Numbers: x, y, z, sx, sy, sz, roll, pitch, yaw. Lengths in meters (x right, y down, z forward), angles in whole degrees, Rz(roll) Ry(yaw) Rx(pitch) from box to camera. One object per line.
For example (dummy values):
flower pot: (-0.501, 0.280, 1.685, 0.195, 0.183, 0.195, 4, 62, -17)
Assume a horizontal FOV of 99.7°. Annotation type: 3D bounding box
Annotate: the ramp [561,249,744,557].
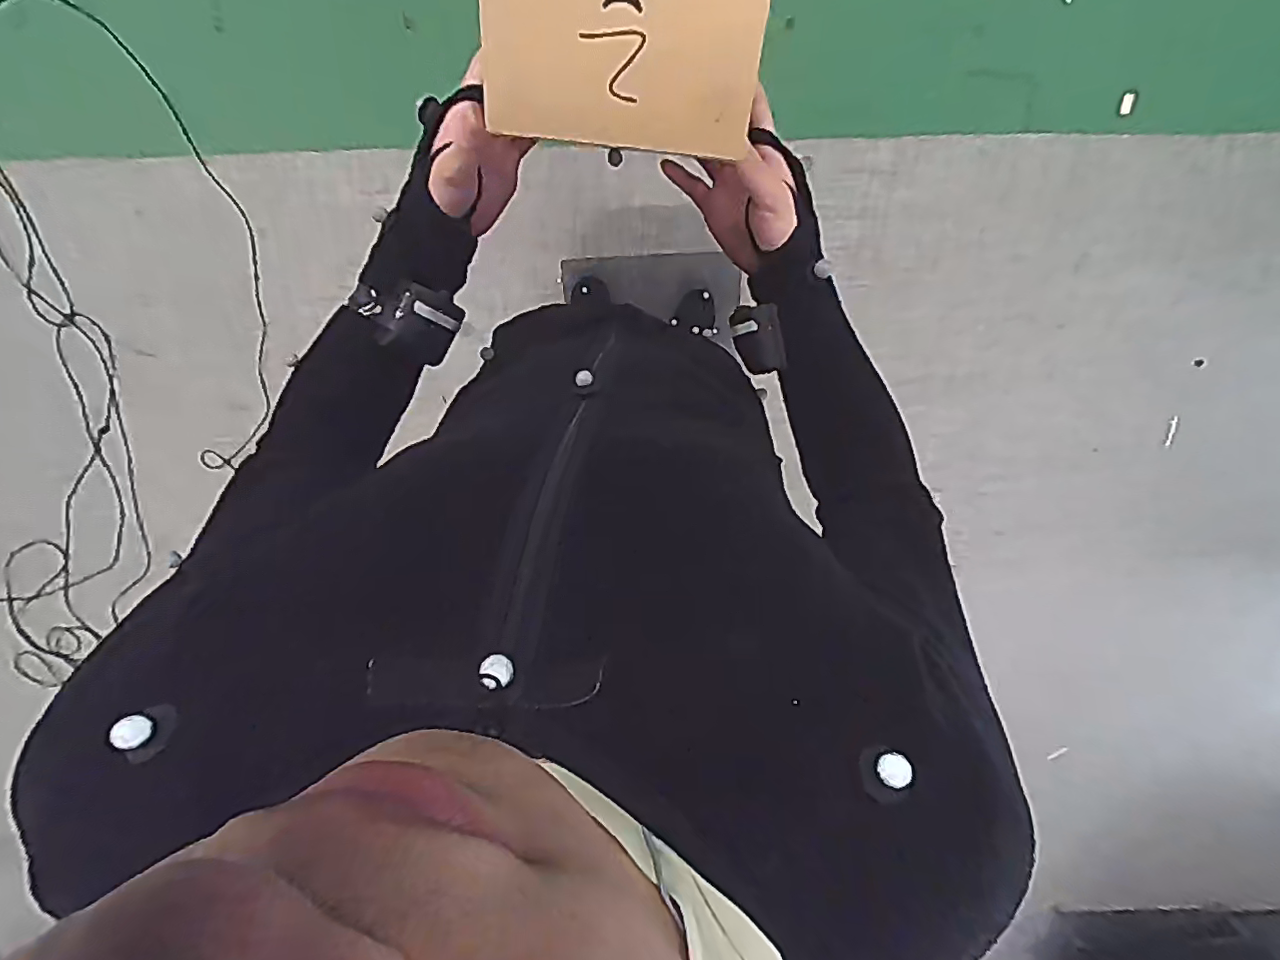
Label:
ramp: (0.058, -0.170, 1.674, 0.509, 0.206, 0.991, -5, 110, 0)
